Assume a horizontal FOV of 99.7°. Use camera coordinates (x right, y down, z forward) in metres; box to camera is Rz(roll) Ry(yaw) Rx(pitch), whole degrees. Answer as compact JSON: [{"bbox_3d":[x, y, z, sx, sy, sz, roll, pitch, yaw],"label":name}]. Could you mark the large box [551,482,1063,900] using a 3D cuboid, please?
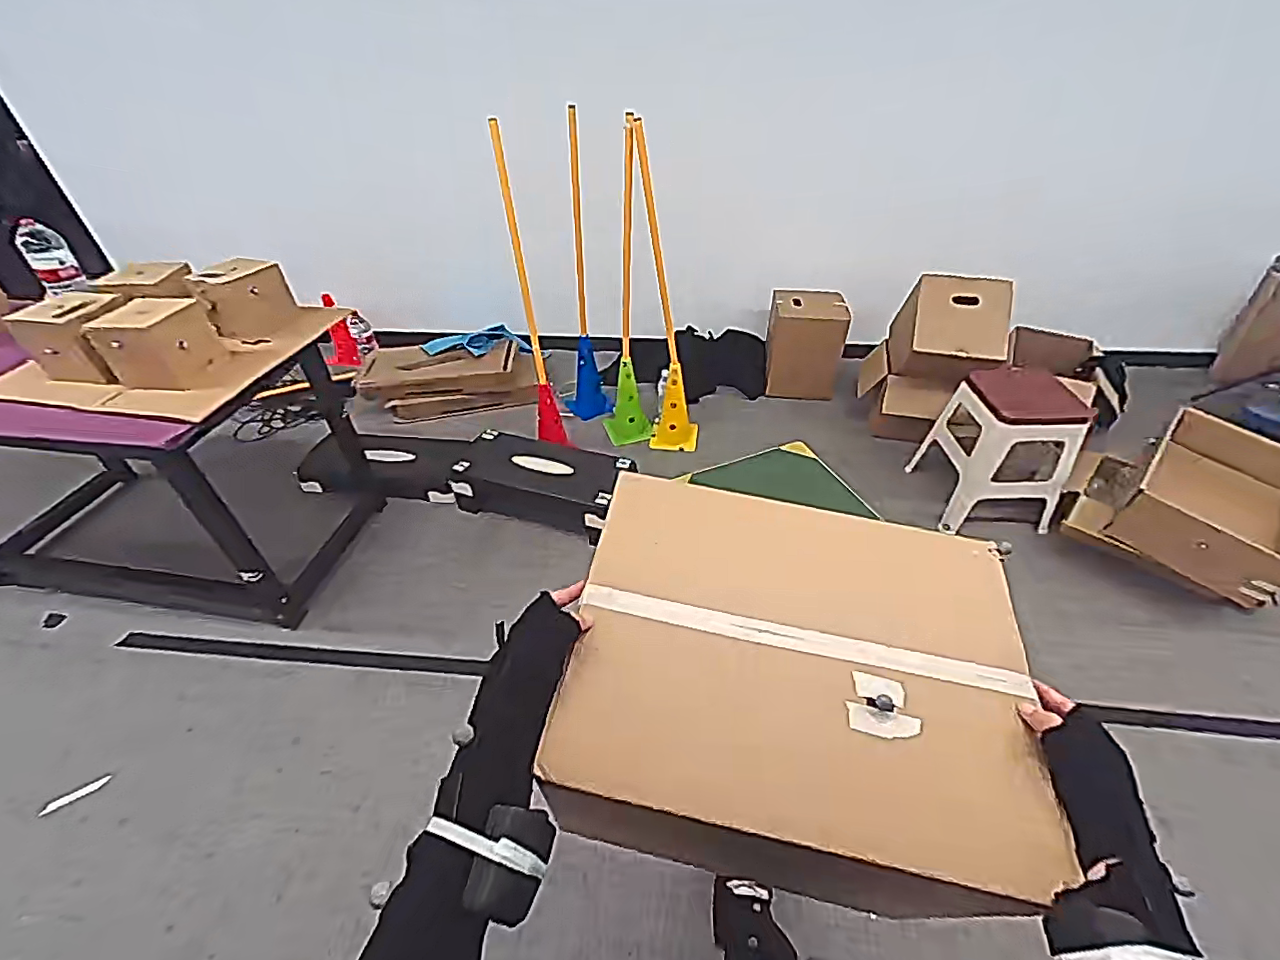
[{"bbox_3d":[0.139,0.244,0.621,0.408,0.320,0.320,11,52,5],"label":"large box"}]
